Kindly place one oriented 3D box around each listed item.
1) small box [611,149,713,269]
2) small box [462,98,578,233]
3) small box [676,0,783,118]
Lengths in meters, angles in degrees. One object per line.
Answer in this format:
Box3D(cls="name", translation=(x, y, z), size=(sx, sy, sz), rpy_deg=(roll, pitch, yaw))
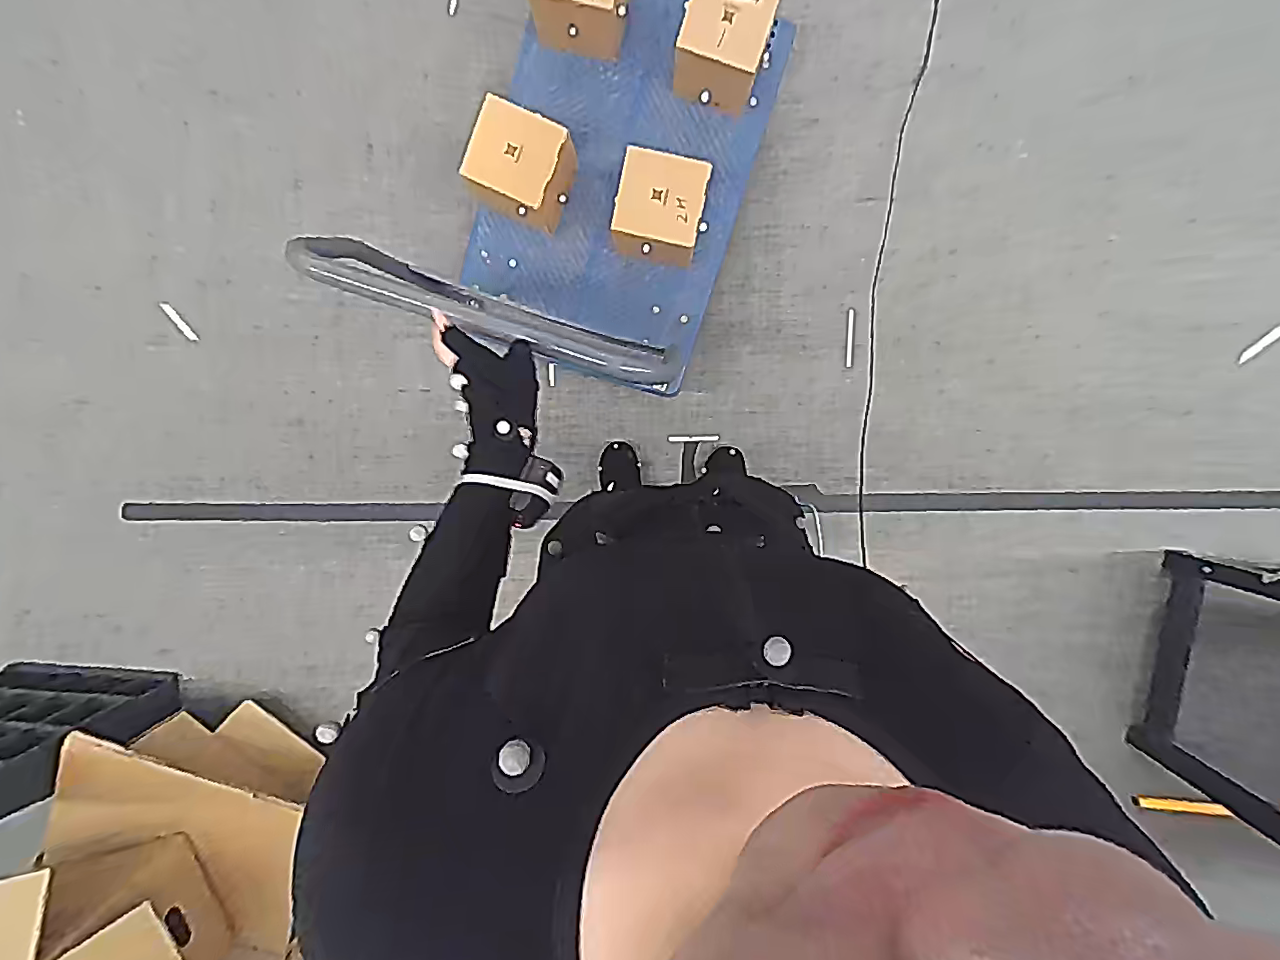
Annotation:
Box3D(cls="small box", translation=(0.046, -0.571, 1.161), size=(0.179, 0.176, 0.168), rpy_deg=(13, 97, 0))
Box3D(cls="small box", translation=(-0.249, -0.659, 1.158), size=(0.179, 0.176, 0.168), rpy_deg=(22, 97, -3))
Box3D(cls="small box", translation=(0.177, -0.902, 1.117), size=(0.168, 0.176, 0.179), rpy_deg=(19, 98, -1))
